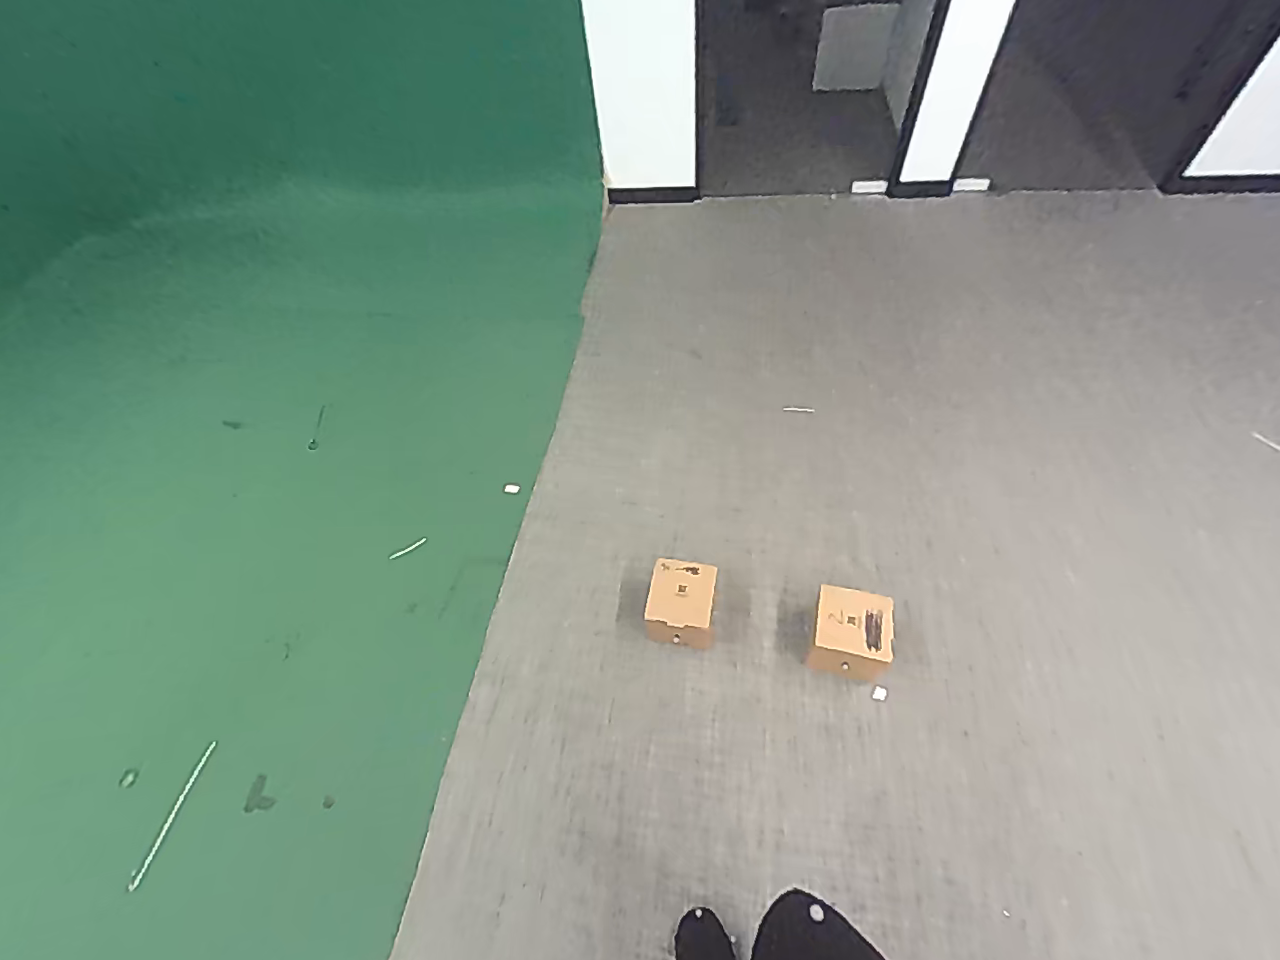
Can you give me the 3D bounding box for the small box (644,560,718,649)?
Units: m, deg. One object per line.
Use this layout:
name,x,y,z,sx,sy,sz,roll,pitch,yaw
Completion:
small box,0.116,0.340,1.459,0.168,0.176,0.179,8,57,11
